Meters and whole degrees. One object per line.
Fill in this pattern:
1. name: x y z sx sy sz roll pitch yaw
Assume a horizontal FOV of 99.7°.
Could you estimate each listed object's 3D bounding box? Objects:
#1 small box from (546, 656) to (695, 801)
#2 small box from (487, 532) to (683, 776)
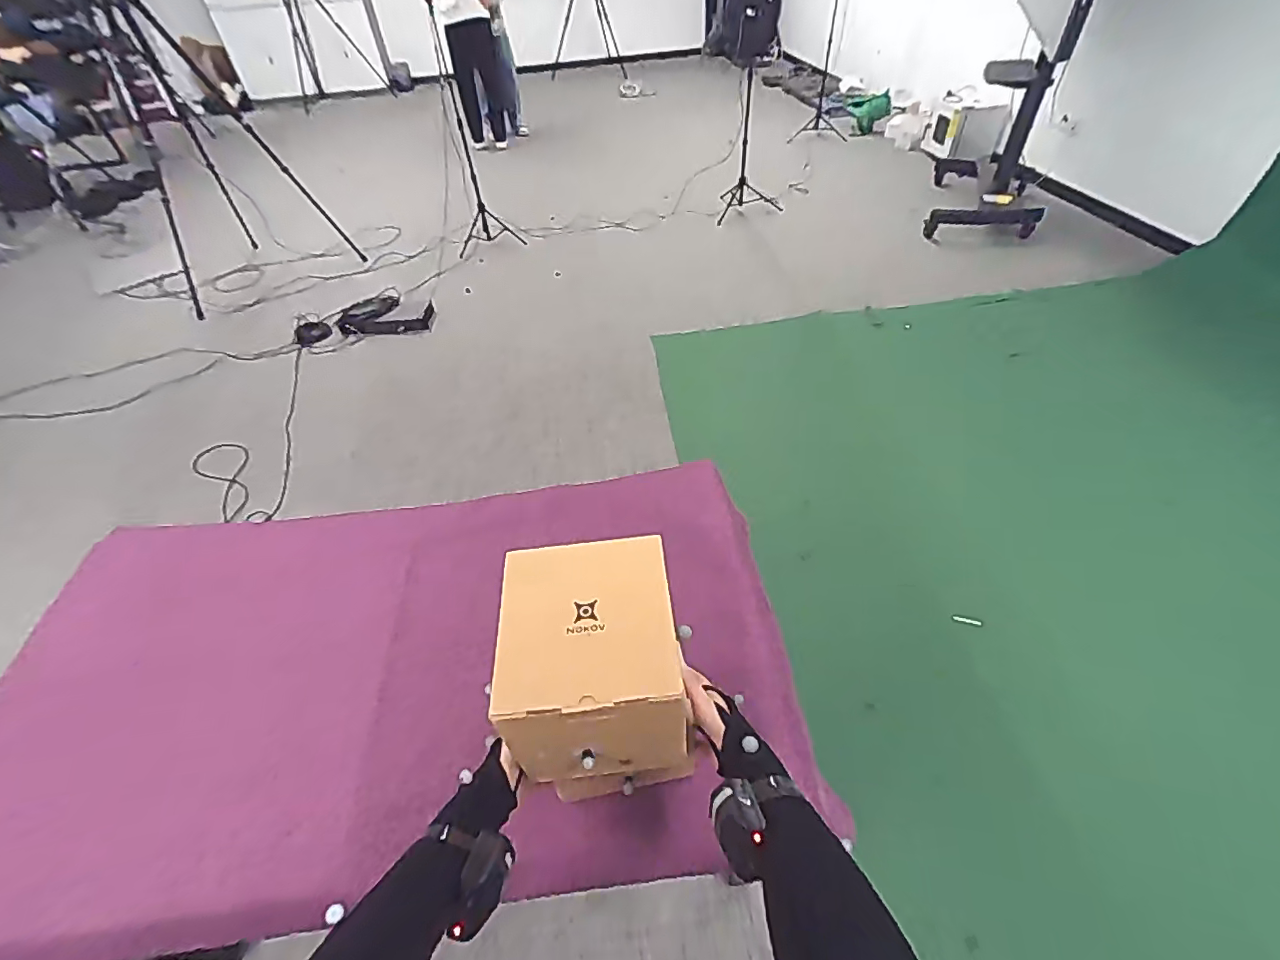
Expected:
1. small box: -0.035 0.283 0.690 0.179 0.176 0.168 -10 44 -5
2. small box: -0.049 0.180 0.562 0.168 0.176 0.179 -7 45 -1
